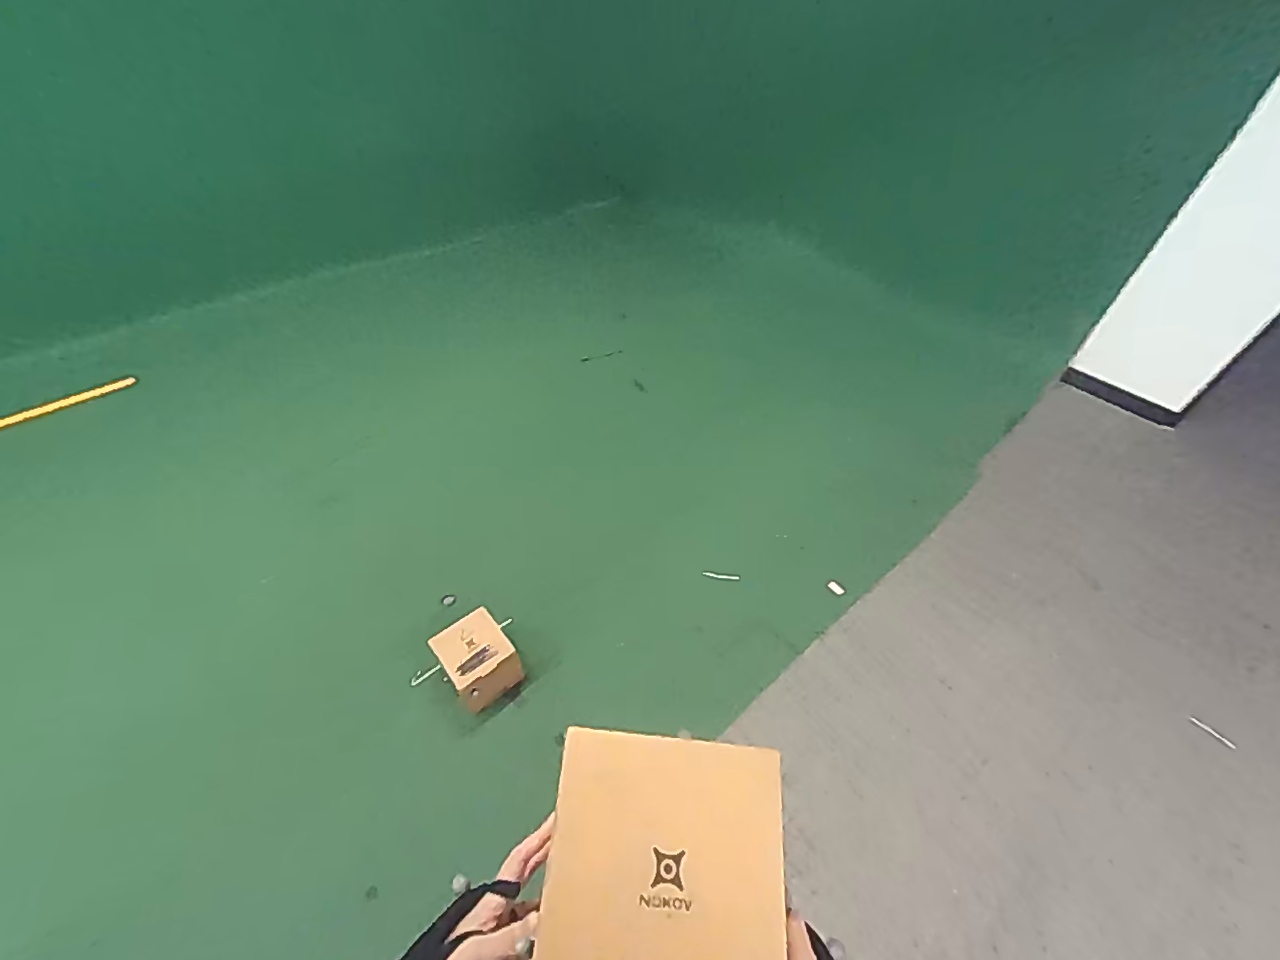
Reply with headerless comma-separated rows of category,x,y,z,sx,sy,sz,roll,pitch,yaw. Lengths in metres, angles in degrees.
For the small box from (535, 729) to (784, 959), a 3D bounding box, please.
small box,0.009,0.313,0.442,0.168,0.176,0.179,6,60,-3
